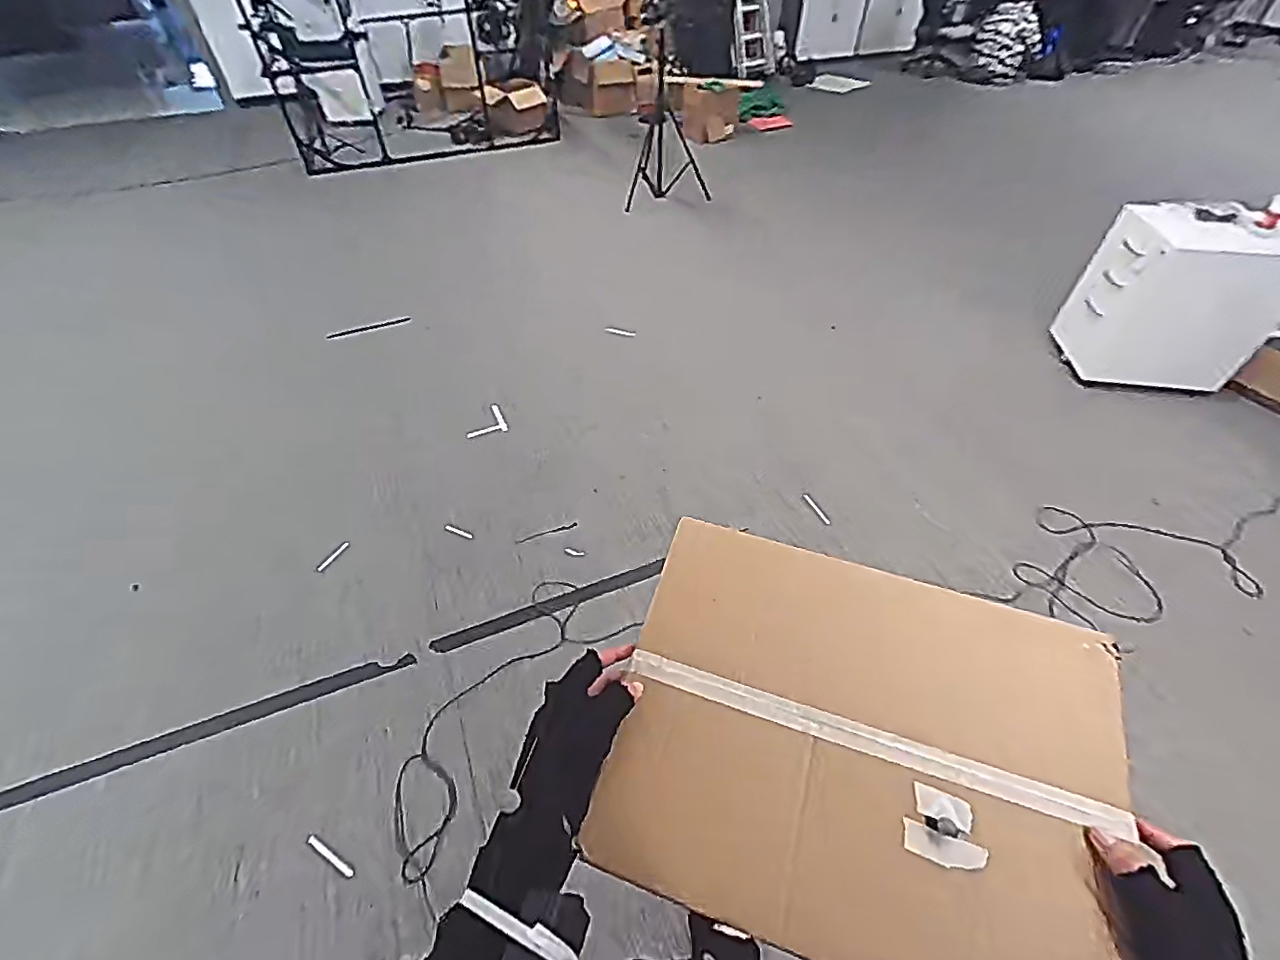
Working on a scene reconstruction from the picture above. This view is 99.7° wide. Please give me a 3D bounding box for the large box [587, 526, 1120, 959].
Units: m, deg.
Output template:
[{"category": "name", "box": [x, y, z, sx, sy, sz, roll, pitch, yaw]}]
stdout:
[{"category": "large box", "box": [0.193, 0.297, 0.602, 0.408, 0.320, 0.320, 15, 61, 12]}]
